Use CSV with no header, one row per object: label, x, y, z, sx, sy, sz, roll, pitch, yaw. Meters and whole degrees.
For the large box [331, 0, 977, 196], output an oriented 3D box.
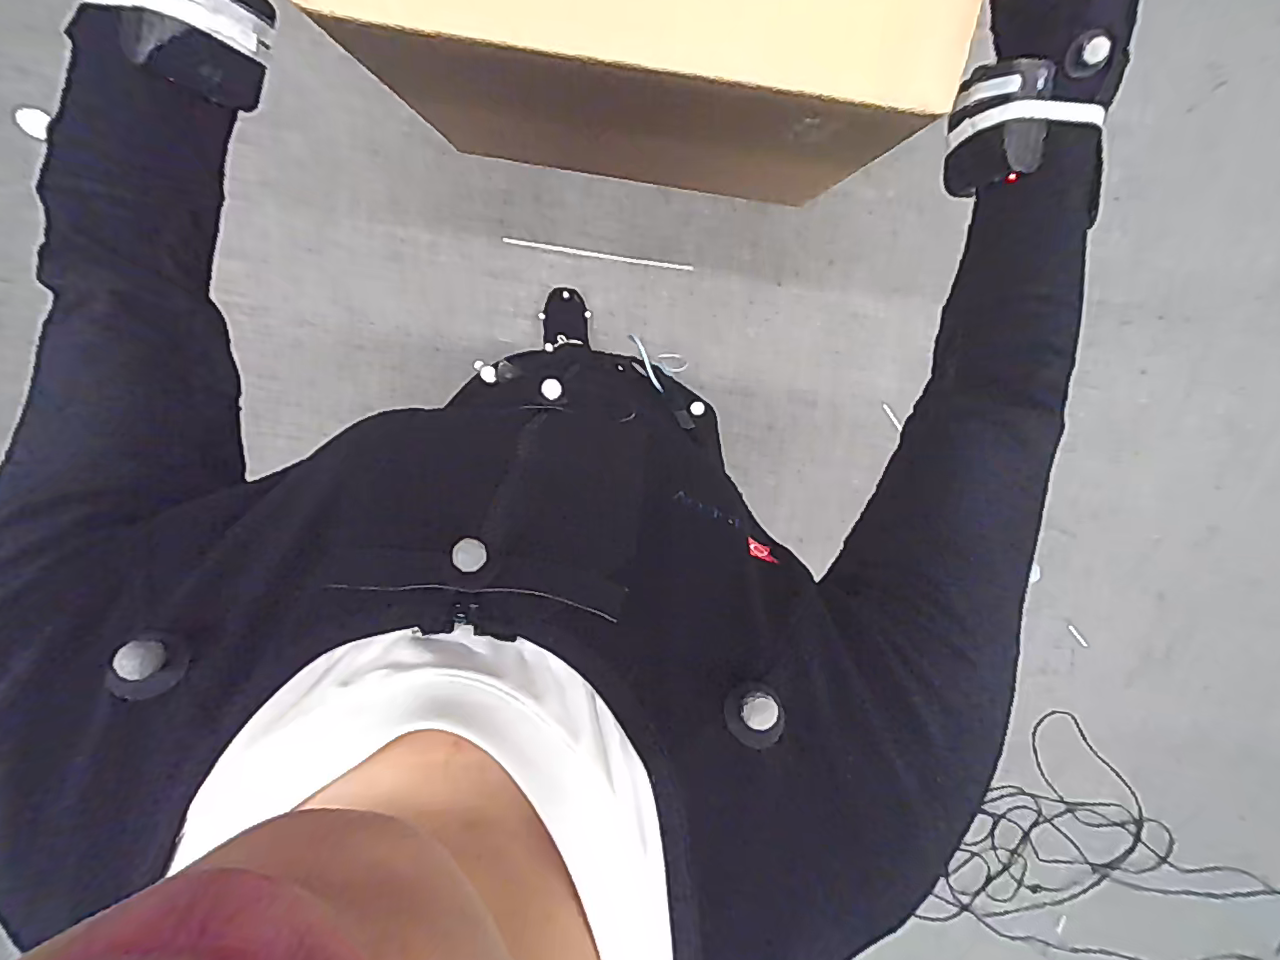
large box,0.018,-0.452,0.435,0.408,0.320,0.320,7,107,-4
